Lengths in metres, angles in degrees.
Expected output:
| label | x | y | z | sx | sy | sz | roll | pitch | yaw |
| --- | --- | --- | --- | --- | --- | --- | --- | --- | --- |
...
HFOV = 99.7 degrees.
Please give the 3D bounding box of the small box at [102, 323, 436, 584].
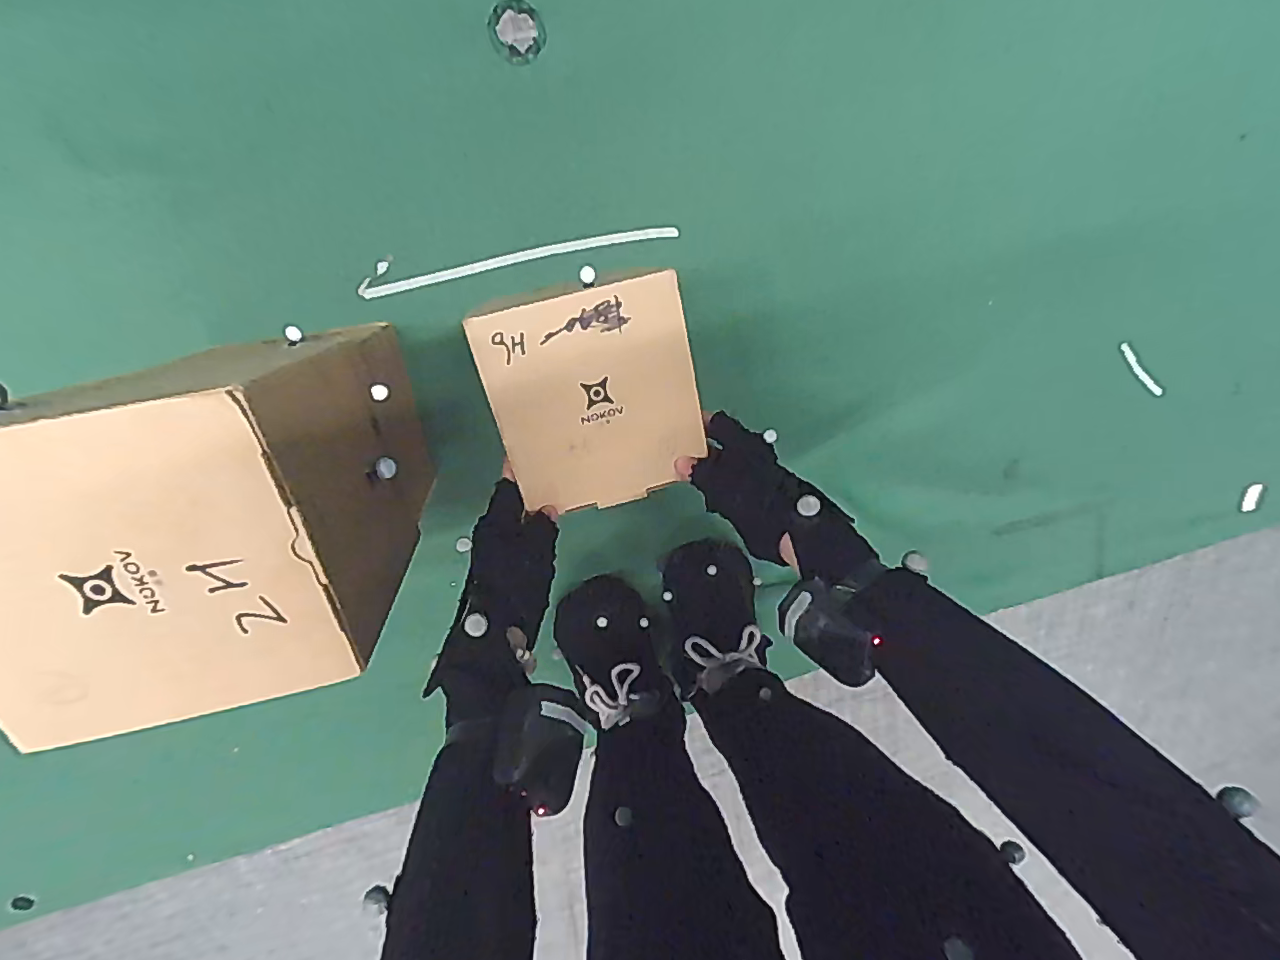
| label | x | y | z | sx | sy | sz | roll | pitch | yaw |
| --- | --- | --- | --- | --- | --- | --- | --- | --- | --- |
| small box | -0.299 | -0.036 | 0.490 | 0.168 | 0.176 | 0.179 | -10 | 113 | -7 |
